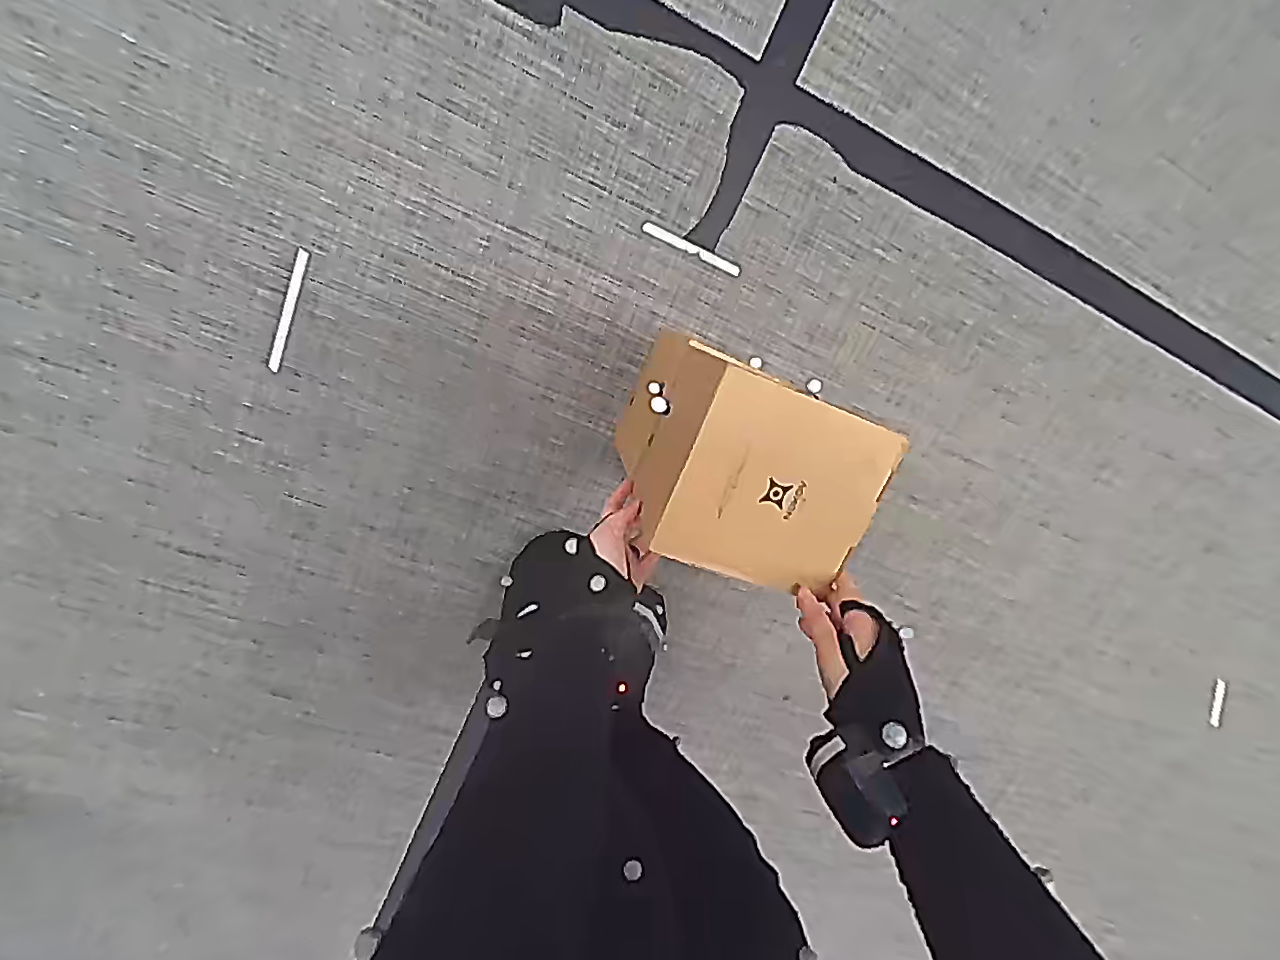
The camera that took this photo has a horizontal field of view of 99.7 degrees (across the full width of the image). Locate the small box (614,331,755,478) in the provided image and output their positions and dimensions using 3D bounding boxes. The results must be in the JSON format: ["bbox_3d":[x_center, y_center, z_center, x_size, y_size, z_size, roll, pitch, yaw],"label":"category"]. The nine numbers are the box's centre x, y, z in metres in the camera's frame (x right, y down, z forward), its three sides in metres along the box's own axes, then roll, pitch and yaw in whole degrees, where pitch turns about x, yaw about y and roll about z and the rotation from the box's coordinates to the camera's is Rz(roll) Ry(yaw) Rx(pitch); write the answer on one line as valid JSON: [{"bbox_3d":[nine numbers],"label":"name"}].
[{"bbox_3d":[0.083,-0.072,0.662,0.179,0.176,0.168,21,105,-16],"label":"small box"}]

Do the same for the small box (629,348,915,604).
[{"bbox_3d":[0.104,-0.015,0.509,0.179,0.176,0.168,19,105,-14],"label":"small box"}]
